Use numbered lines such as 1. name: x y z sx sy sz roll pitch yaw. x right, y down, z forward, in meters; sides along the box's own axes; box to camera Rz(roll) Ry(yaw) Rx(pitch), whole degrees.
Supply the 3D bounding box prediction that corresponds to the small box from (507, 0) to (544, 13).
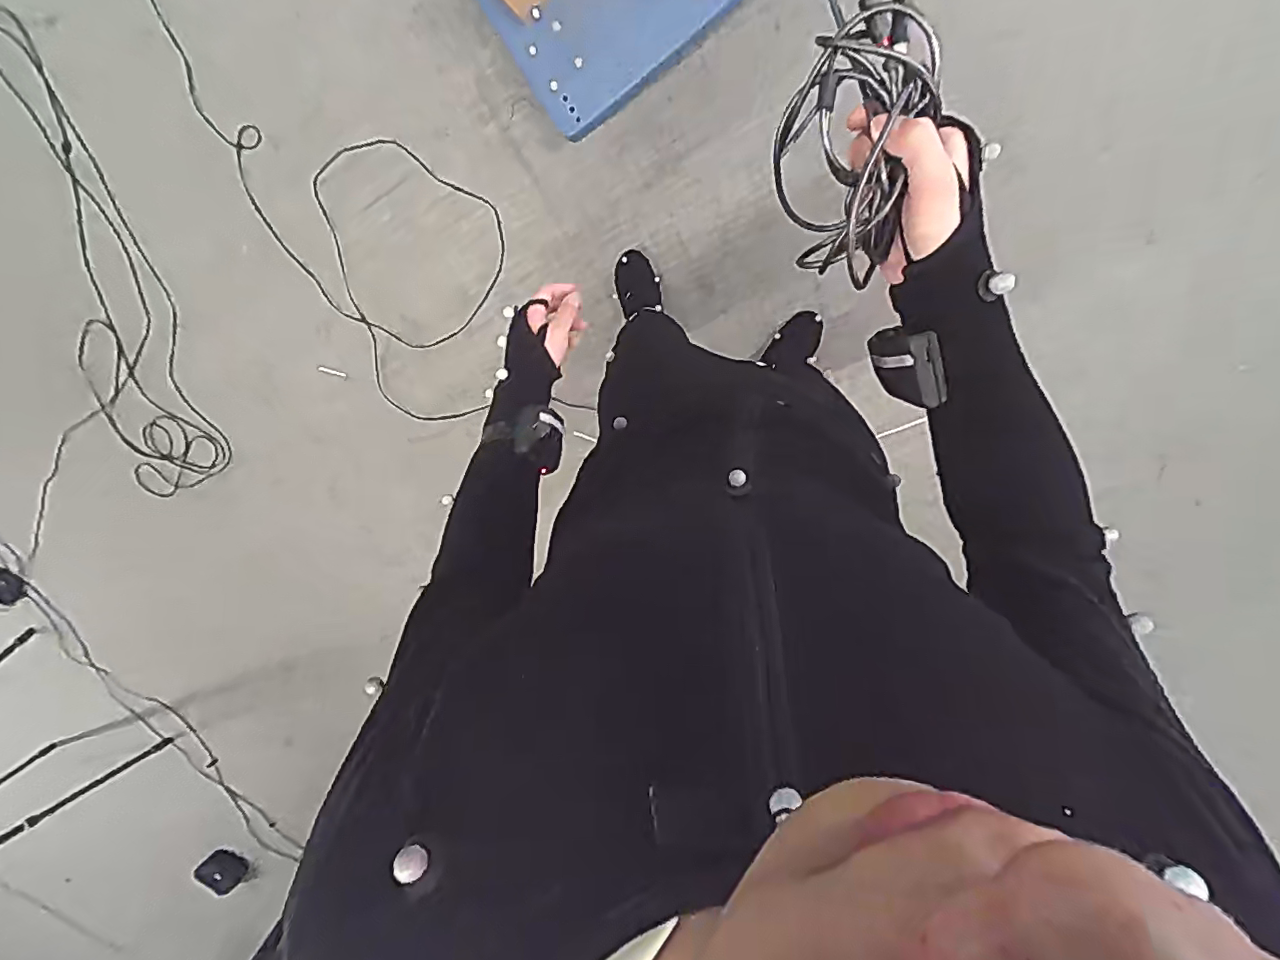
1. small box: -0.236 -1.044 1.026 0.168 0.176 0.179 -31 103 19
